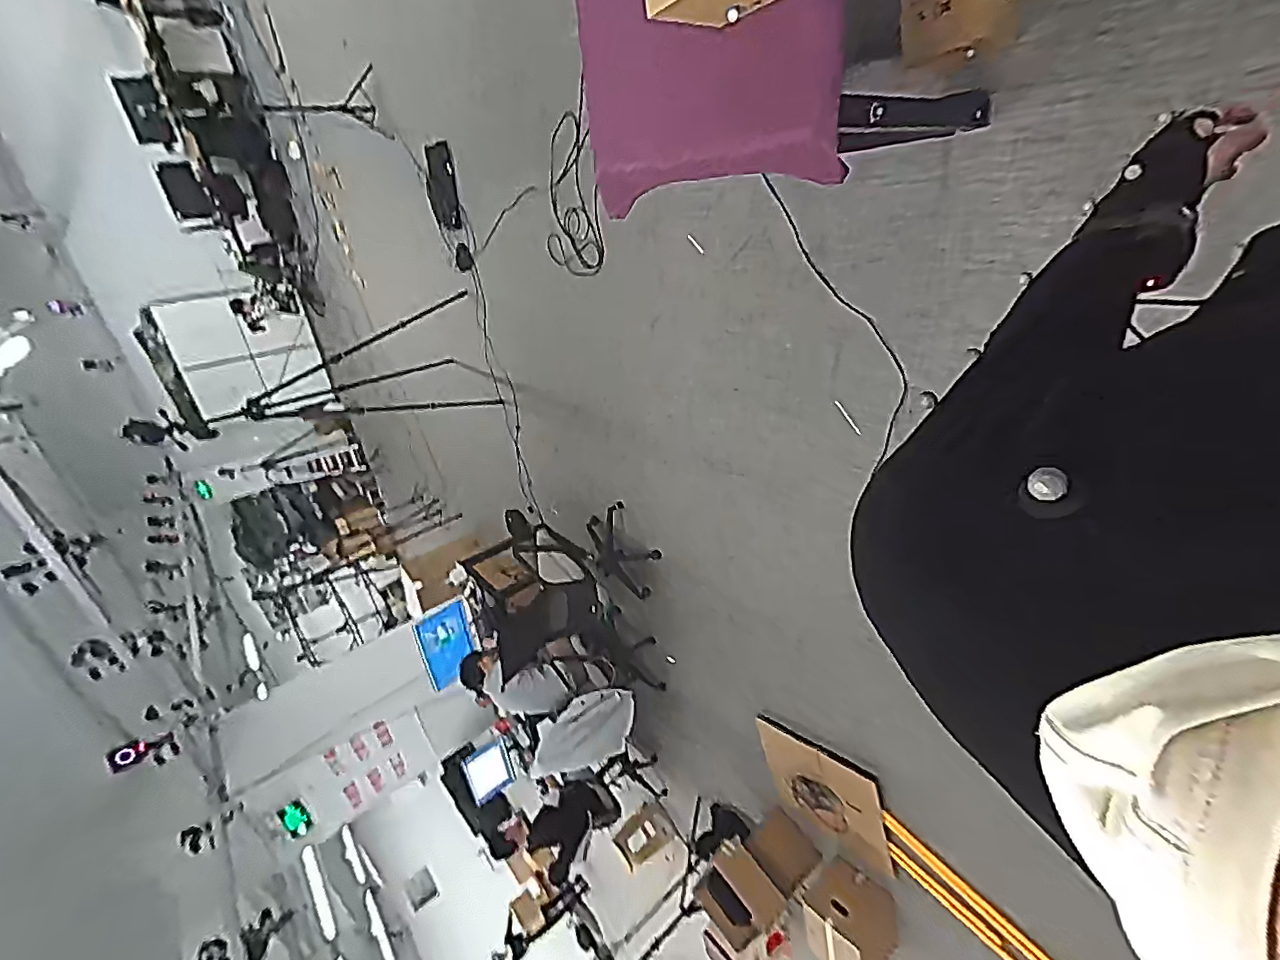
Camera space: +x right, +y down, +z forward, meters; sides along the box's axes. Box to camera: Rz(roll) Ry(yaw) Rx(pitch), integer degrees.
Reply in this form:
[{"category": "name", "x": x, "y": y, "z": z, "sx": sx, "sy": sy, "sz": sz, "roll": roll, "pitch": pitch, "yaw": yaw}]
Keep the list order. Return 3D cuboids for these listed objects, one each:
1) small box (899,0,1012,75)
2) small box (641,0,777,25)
[{"category": "small box", "x": 0.689, "y": -1.012, "z": 1.175, "sx": 0.179, "sy": 0.176, "sz": 0.168, "roll": 15, "pitch": 123, "yaw": 49}, {"category": "small box", "x": 0.110, "y": -0.801, "z": 0.785, "sx": 0.168, "sy": 0.176, "sz": 0.179, "roll": 23, "pitch": 129, "yaw": 47}]
